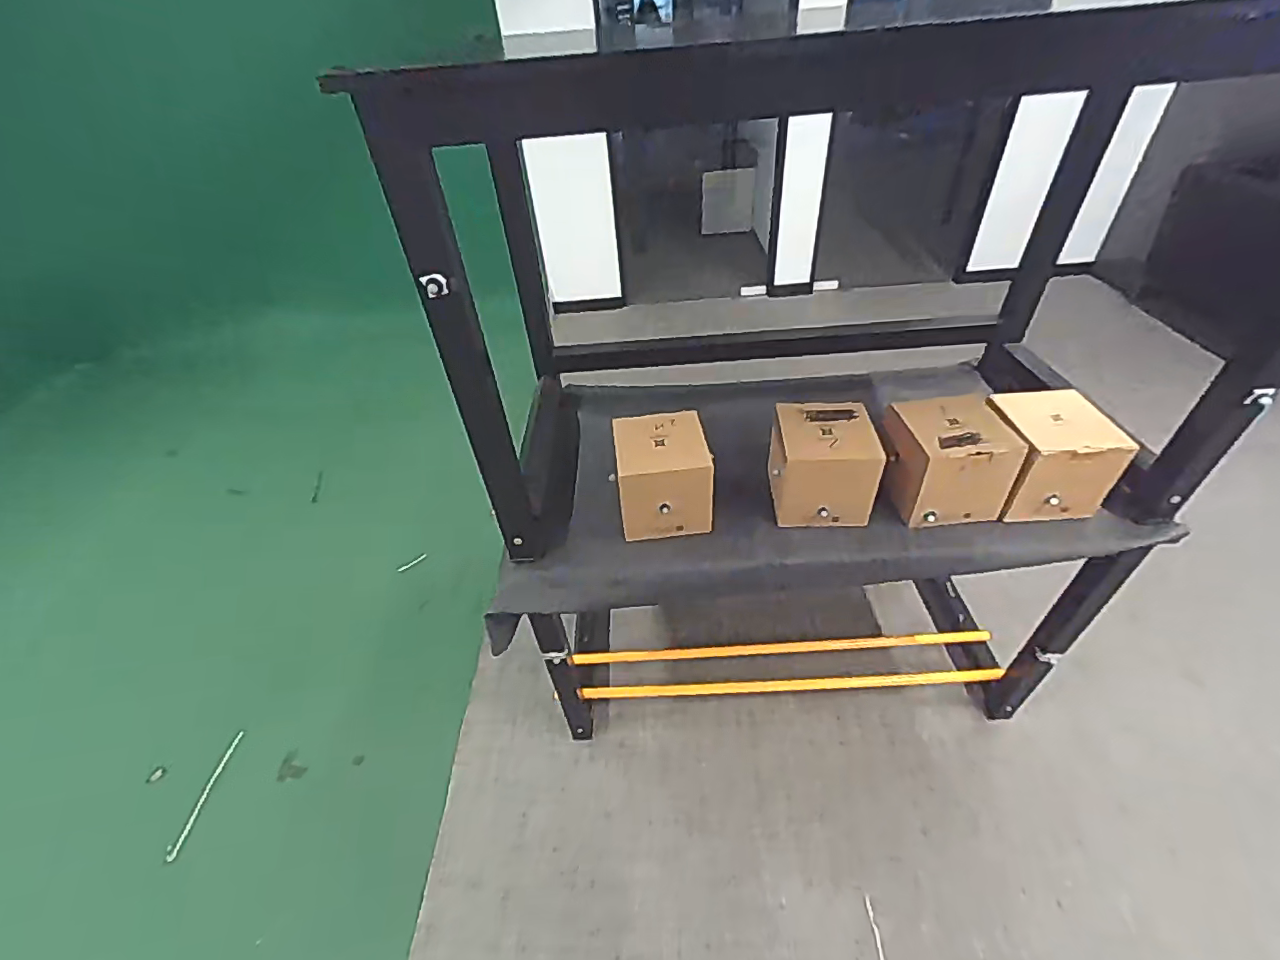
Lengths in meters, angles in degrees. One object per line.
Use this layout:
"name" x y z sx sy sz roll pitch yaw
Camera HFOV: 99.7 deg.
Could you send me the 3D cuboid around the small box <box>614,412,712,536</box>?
"small box" 0.043 -0.006 1.035 0.168 0.176 0.179 -6 40 -2
